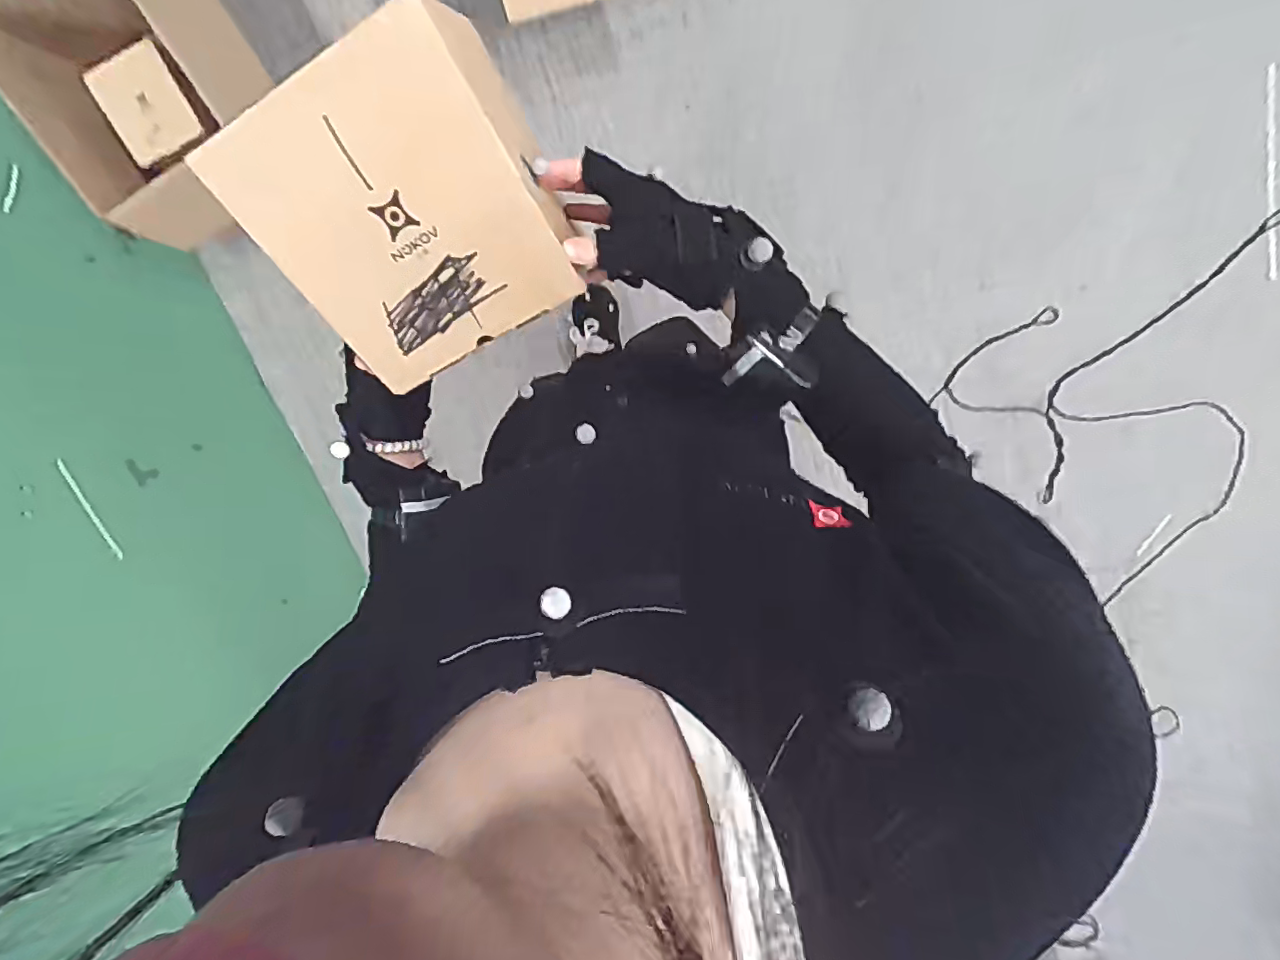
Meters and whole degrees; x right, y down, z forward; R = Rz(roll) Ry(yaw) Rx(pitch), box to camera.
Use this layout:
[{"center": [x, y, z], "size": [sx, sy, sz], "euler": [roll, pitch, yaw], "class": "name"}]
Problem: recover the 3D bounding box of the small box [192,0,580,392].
[{"center": [-0.153, -0.202, 0.404], "size": [0.168, 0.176, 0.179], "euler": [-24, 123, 11], "class": "small box"}]
